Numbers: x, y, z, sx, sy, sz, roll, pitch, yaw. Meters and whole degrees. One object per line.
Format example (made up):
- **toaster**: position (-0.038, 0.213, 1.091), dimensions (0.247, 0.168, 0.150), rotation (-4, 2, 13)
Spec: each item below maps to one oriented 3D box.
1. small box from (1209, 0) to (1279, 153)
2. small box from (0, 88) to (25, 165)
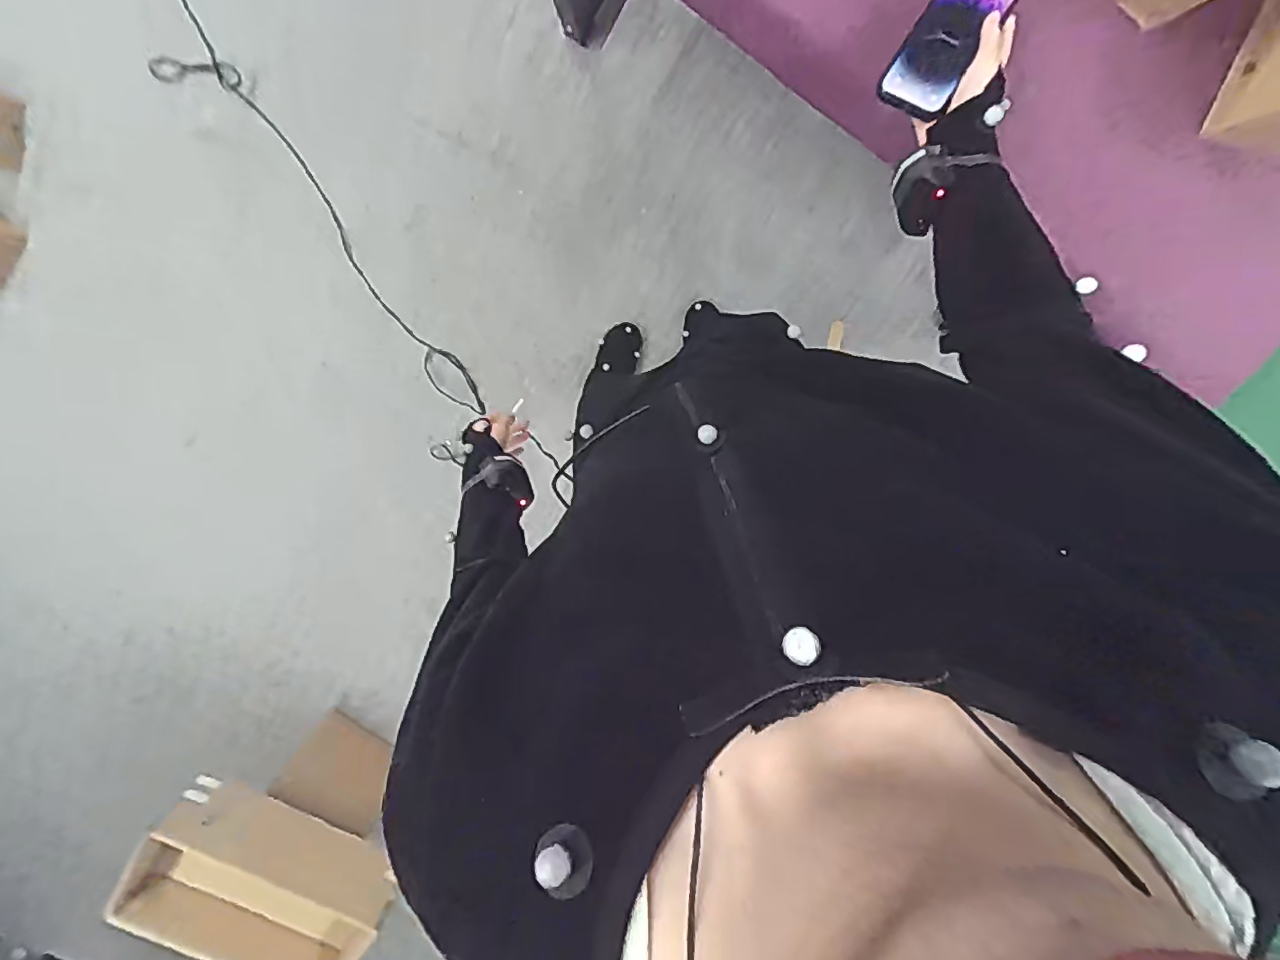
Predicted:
- **small box**: position (0.736, -0.428, 0.520), dimensions (0.179, 0.176, 0.168), rotation (13, 108, -2)
- **small box**: position (-1.575, -0.845, 1.229), dimensions (0.179, 0.176, 0.168), rotation (25, 108, -6)
